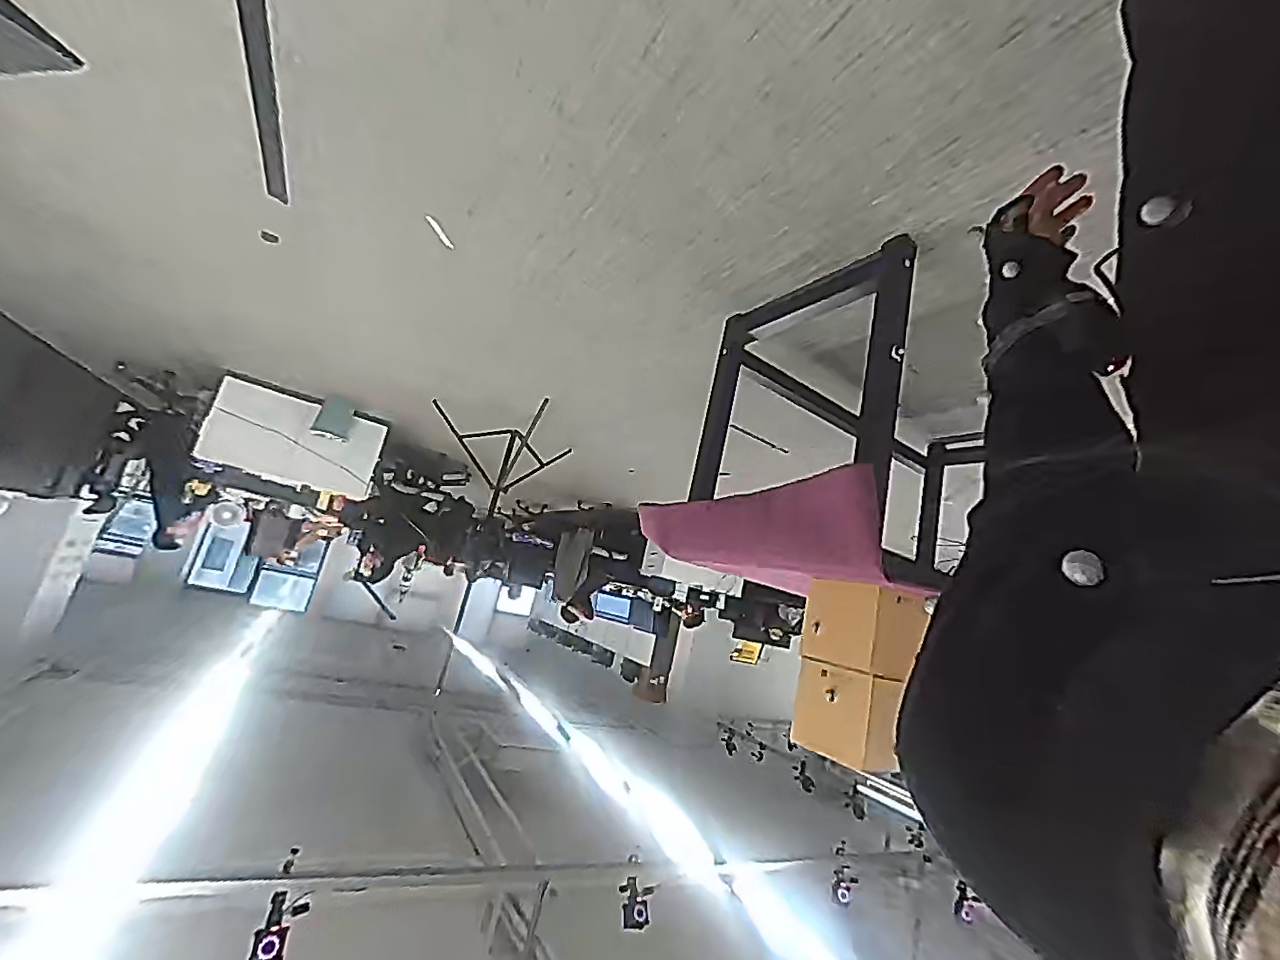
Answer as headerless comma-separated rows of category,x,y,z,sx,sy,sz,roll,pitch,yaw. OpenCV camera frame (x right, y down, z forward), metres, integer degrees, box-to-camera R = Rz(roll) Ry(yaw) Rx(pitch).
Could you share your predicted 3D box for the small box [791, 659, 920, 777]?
small box,0.429,0.463,1.069,0.179,0.176,0.168,20,166,-32
